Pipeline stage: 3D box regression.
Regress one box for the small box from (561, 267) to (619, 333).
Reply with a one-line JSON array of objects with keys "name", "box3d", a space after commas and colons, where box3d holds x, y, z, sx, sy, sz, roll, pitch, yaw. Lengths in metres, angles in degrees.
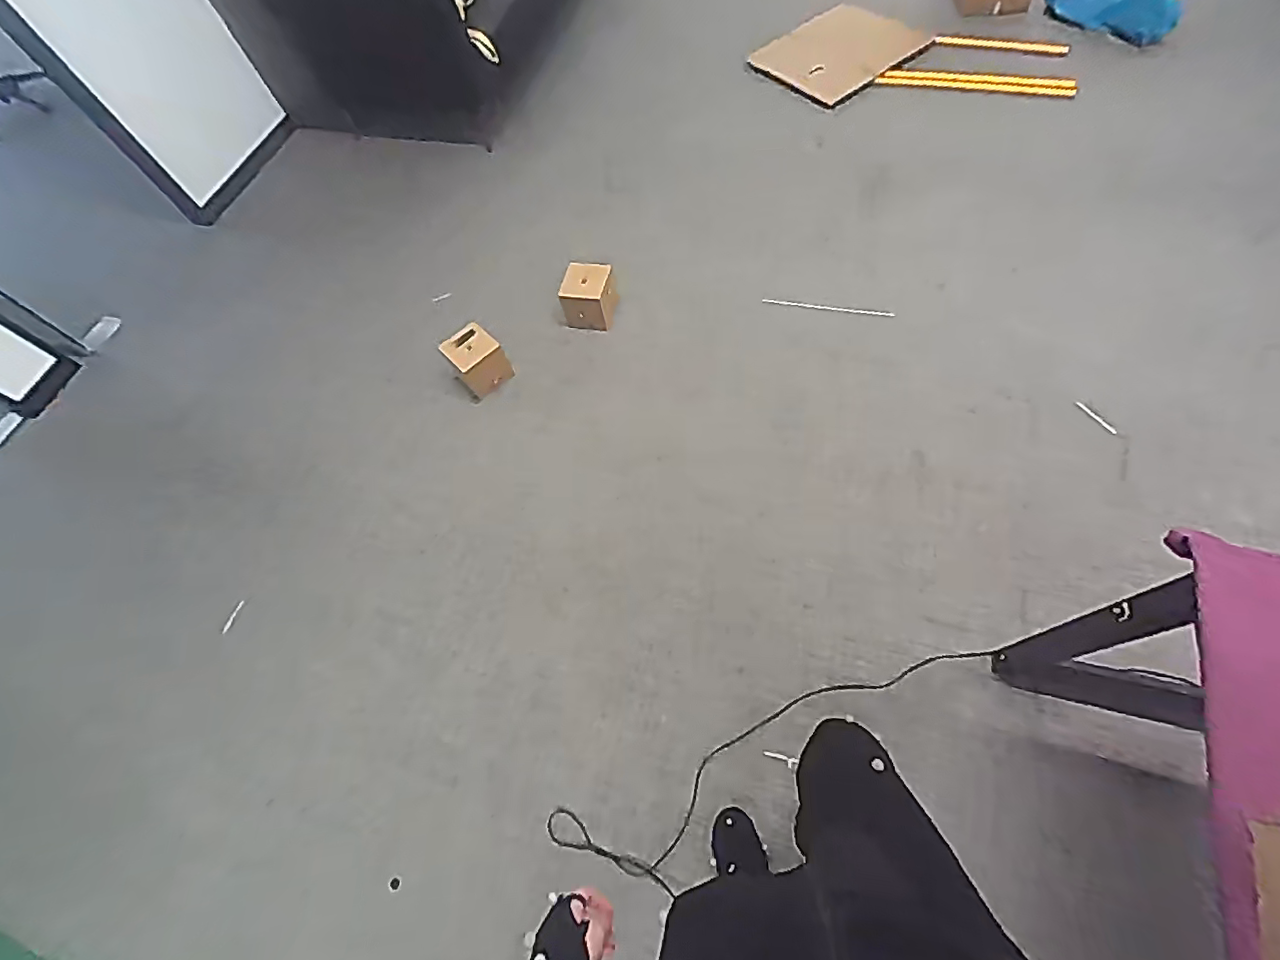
[{"name": "small box", "box3d": [-0.185, -0.690, 2.080, 0.168, 0.176, 0.179, 9, 64, 12]}]
